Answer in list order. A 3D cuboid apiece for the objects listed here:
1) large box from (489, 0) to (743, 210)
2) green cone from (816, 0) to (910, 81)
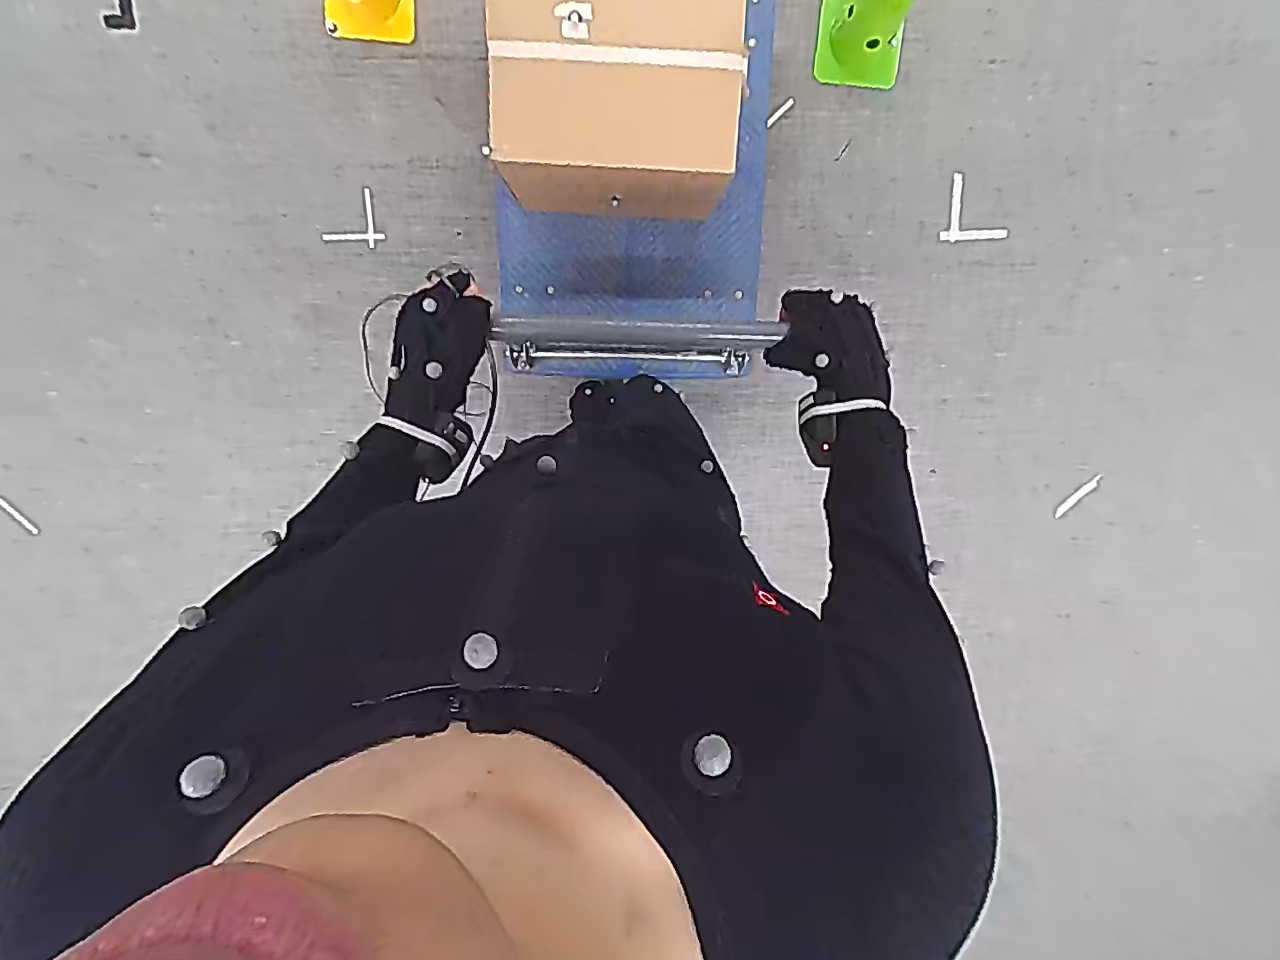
[{"bbox_3d":[-0.040,-0.705,1.001,0.408,0.320,0.320,2,102,-2],"label":"large box"},{"bbox_3d":[0.526,-1.019,1.098,0.202,0.368,0.200,3,102,-4],"label":"green cone"}]
